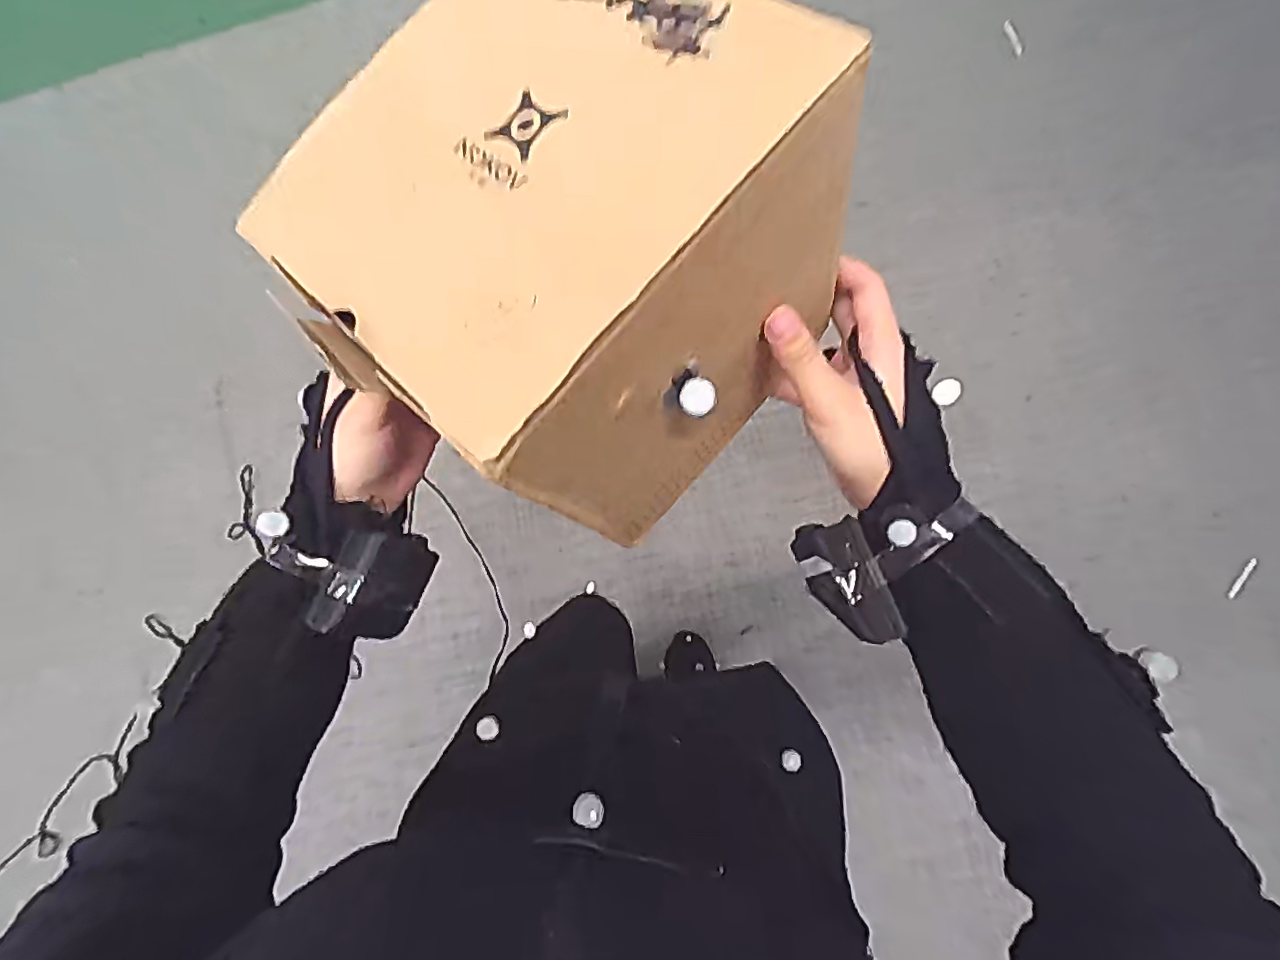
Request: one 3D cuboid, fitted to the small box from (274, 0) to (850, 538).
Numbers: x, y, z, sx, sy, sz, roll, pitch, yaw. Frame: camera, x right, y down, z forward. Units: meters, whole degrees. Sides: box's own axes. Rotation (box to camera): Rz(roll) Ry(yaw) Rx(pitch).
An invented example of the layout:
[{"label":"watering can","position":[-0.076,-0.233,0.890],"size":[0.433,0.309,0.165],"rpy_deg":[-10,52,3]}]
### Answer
[{"label":"small box","position":[-0.022,-0.090,0.274],"size":[0.168,0.176,0.179],"rpy_deg":[41,89,20]}]
